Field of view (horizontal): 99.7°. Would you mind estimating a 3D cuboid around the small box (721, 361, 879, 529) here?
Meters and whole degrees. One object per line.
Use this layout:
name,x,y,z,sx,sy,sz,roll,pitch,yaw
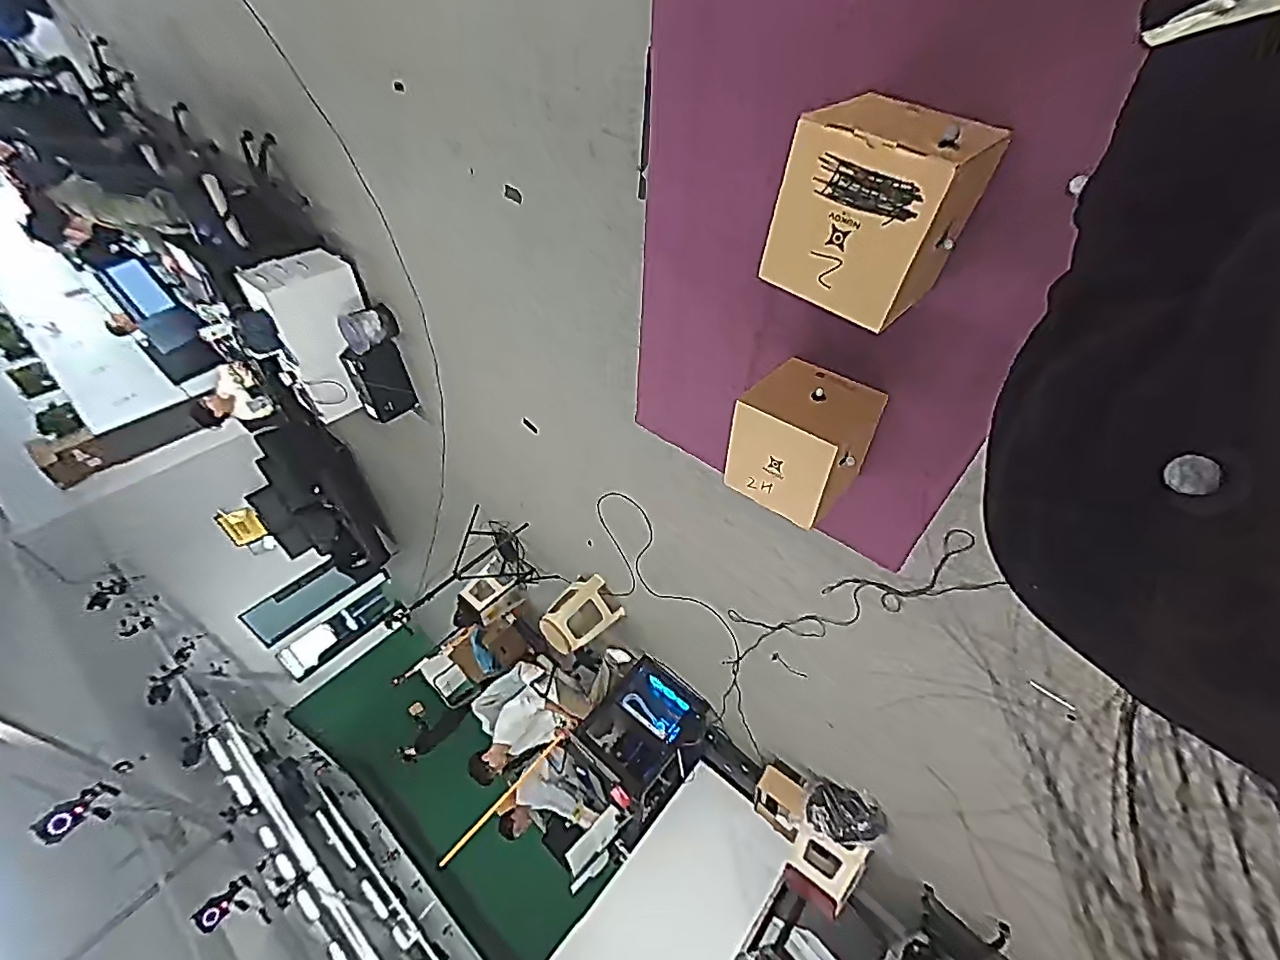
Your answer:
small box,0.253,-0.063,0.858,0.168,0.176,0.179,33,142,29
